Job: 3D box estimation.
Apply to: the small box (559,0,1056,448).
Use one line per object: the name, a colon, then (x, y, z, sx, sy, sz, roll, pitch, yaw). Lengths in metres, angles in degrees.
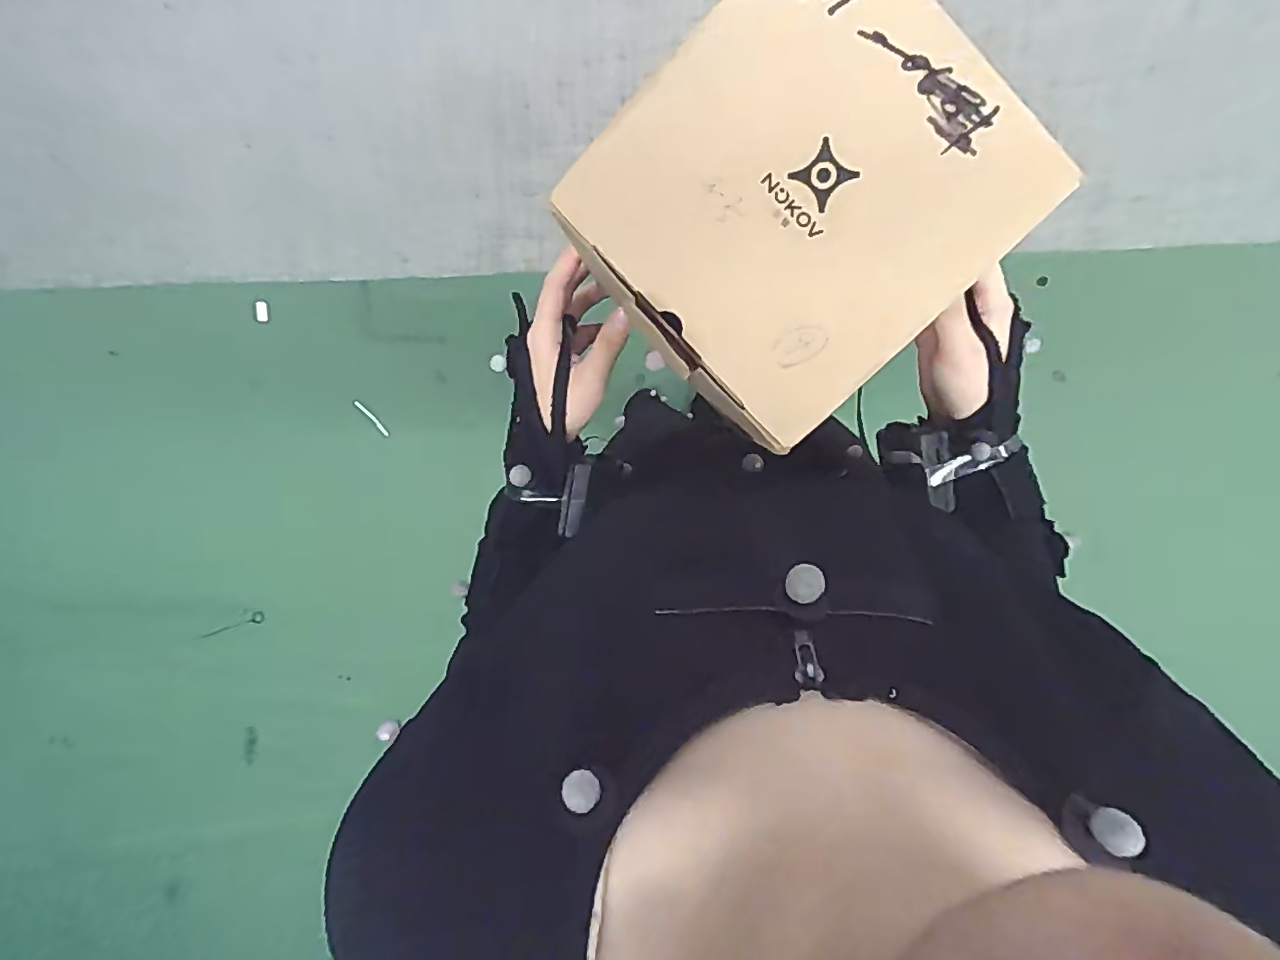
small box: (0.082, -0.141, 0.335, 0.179, 0.176, 0.168, -44, 93, 9)
